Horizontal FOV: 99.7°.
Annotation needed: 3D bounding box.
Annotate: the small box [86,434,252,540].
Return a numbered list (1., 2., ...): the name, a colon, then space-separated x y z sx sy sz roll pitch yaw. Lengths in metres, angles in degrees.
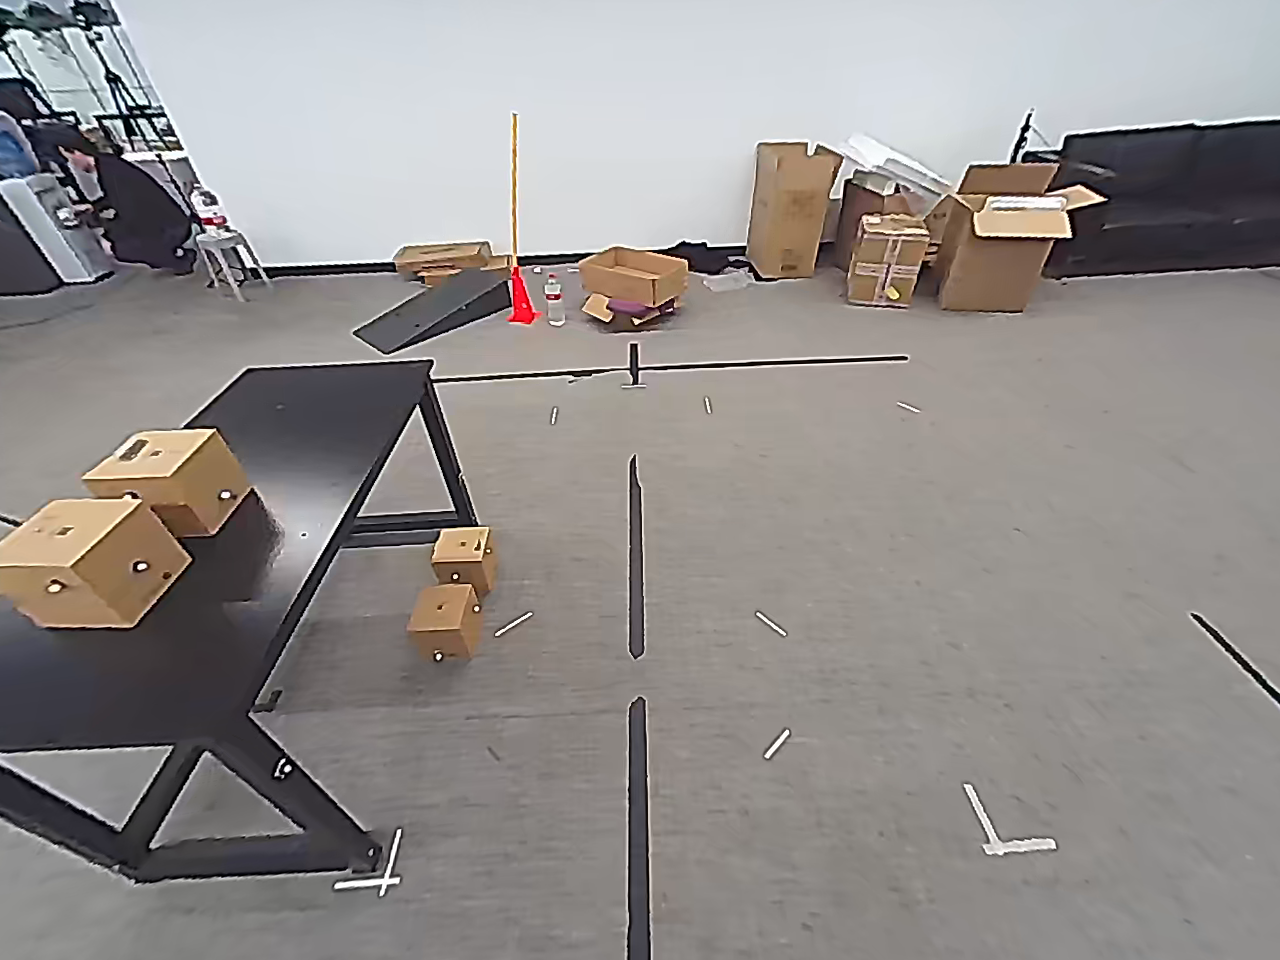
1. small box: -0.999 0.018 1.167 0.179 0.176 0.168 -2 40 0

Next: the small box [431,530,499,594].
1. small box: -0.622 0.300 1.946 0.179 0.176 0.168 -4 40 0

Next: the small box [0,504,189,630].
1. small box: -0.998 0.161 0.993 0.179 0.176 0.168 -1 39 3

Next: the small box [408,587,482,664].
1. small box: -0.620 0.469 1.745 0.168 0.176 0.179 -4 40 1
